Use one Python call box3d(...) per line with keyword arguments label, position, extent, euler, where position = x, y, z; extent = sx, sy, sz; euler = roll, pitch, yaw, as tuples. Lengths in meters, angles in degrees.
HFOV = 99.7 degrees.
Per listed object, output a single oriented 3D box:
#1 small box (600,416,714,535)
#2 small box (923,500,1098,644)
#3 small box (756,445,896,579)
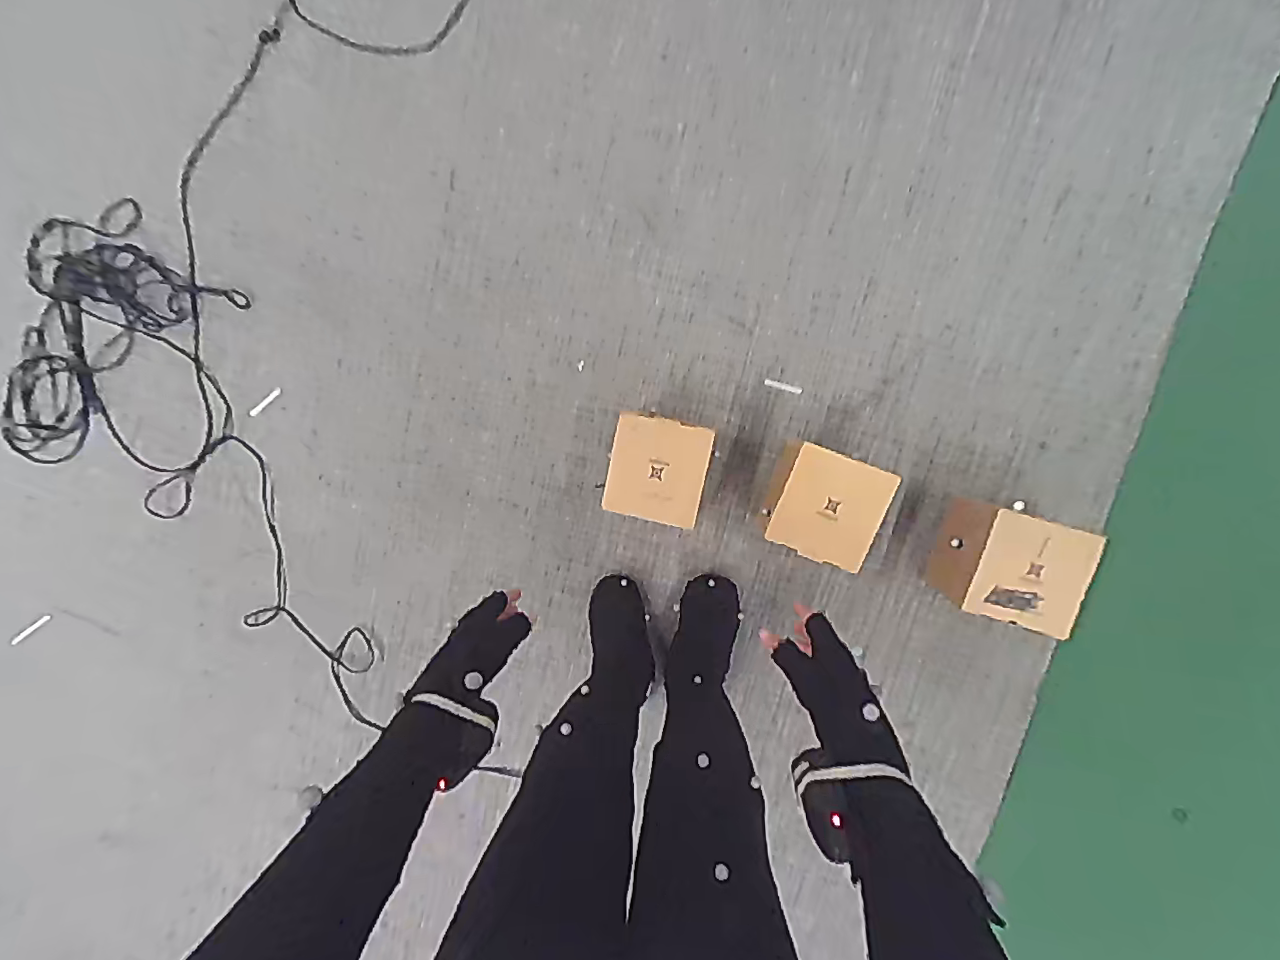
box3d(label="small box", position=(0.038, -0.017, 0.986), extent=(0.168, 0.176, 0.179), euler=(12, 99, 8))
box3d(label="small box", position=(0.616, 0.147, 0.928), extent=(0.168, 0.176, 0.179), euler=(16, 97, 5))
box3d(label="small box", position=(0.314, 0.045, 0.957), extent=(0.168, 0.176, 0.179), euler=(21, 99, 4))
